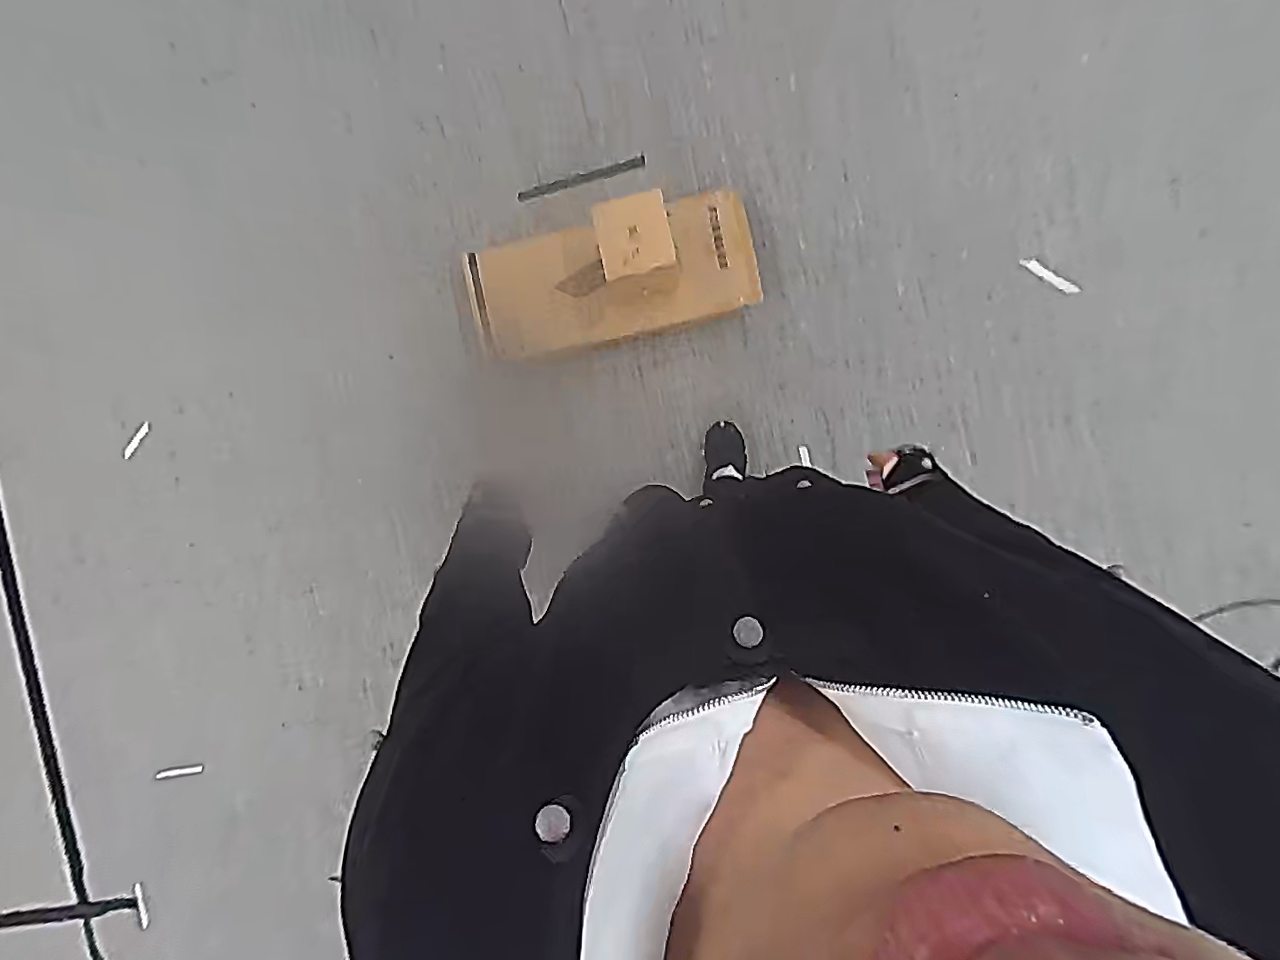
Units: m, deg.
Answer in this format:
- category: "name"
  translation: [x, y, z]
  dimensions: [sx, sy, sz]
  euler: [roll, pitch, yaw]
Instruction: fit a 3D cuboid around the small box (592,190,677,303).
- category: "small box"
  translation: [-0.008, -0.550, 1.294]
  dimensions: [0.168, 0.176, 0.179]
  euler: [-12, 90, 6]
